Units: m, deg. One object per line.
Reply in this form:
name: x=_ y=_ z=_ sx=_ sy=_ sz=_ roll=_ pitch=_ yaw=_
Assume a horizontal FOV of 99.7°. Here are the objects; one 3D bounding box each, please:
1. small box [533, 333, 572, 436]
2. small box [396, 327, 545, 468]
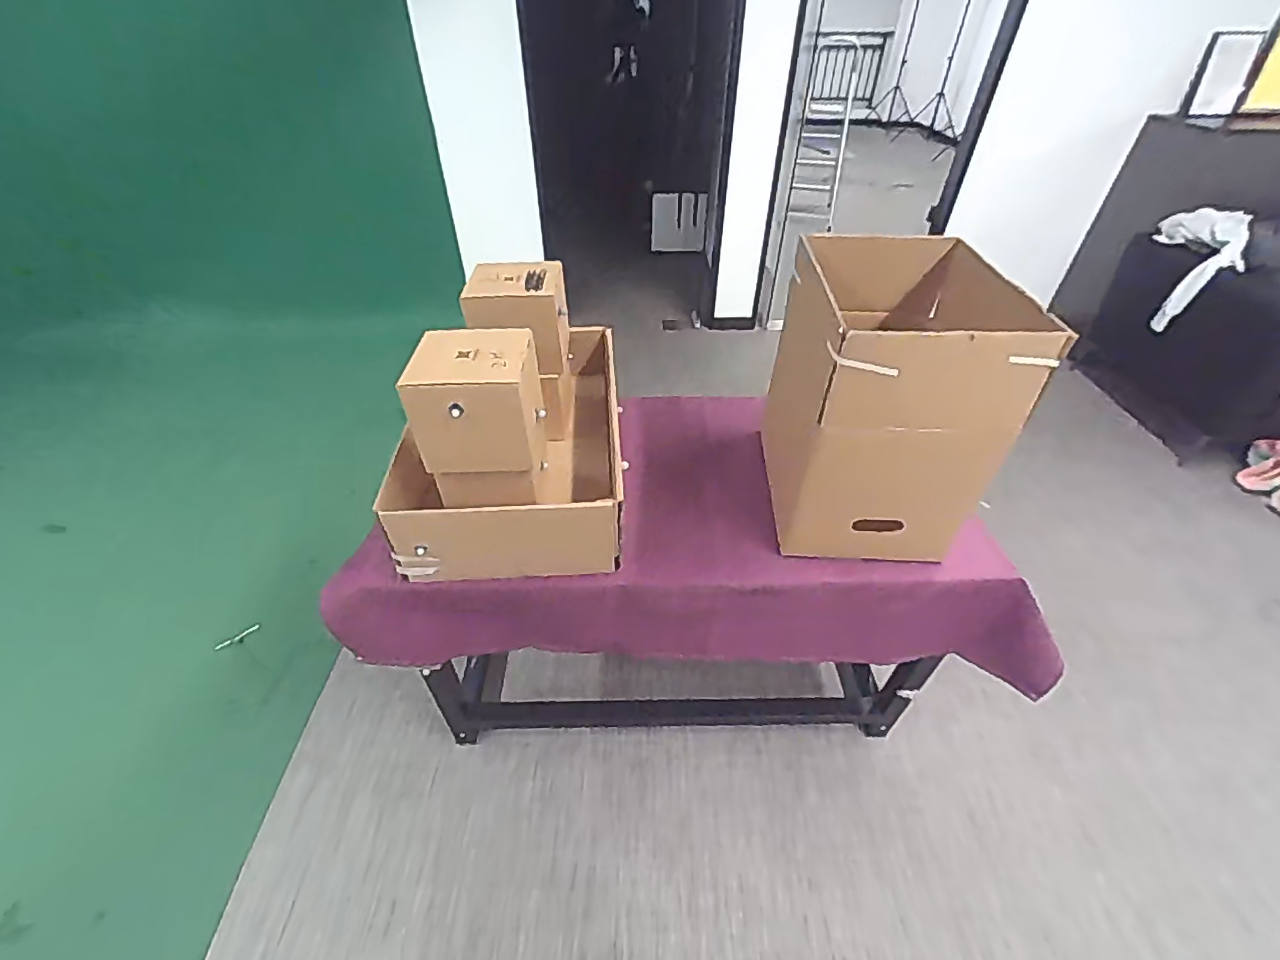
small box: x=-0.246 y=-0.210 z=1.206 sx=0.168 sy=0.176 sz=0.179 roll=-1 pitch=43 yaw=0
small box: x=-0.260 y=-0.131 z=0.875 sx=0.179 sy=0.176 sz=0.168 roll=-1 pitch=43 yaw=-1
